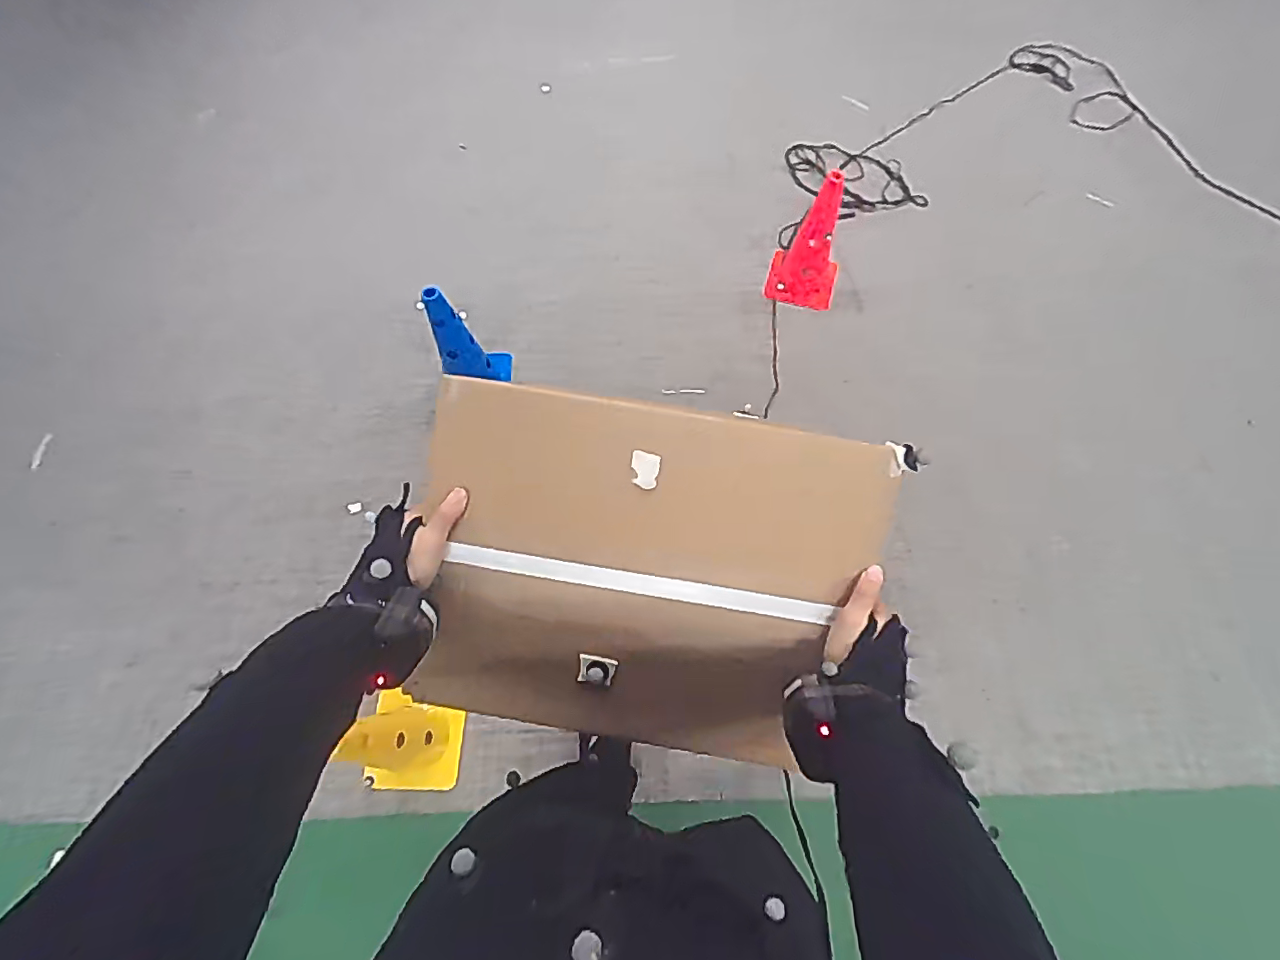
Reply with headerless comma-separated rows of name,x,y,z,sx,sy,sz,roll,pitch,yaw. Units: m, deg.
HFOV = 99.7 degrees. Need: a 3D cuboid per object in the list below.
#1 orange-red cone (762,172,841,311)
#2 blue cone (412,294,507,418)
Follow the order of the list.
orange-red cone,0.484,-0.675,1.490,0.199,0.360,0.198,17,68,8
blue cone,-0.479,-0.330,1.380,0.192,0.380,0.193,-2,65,1
